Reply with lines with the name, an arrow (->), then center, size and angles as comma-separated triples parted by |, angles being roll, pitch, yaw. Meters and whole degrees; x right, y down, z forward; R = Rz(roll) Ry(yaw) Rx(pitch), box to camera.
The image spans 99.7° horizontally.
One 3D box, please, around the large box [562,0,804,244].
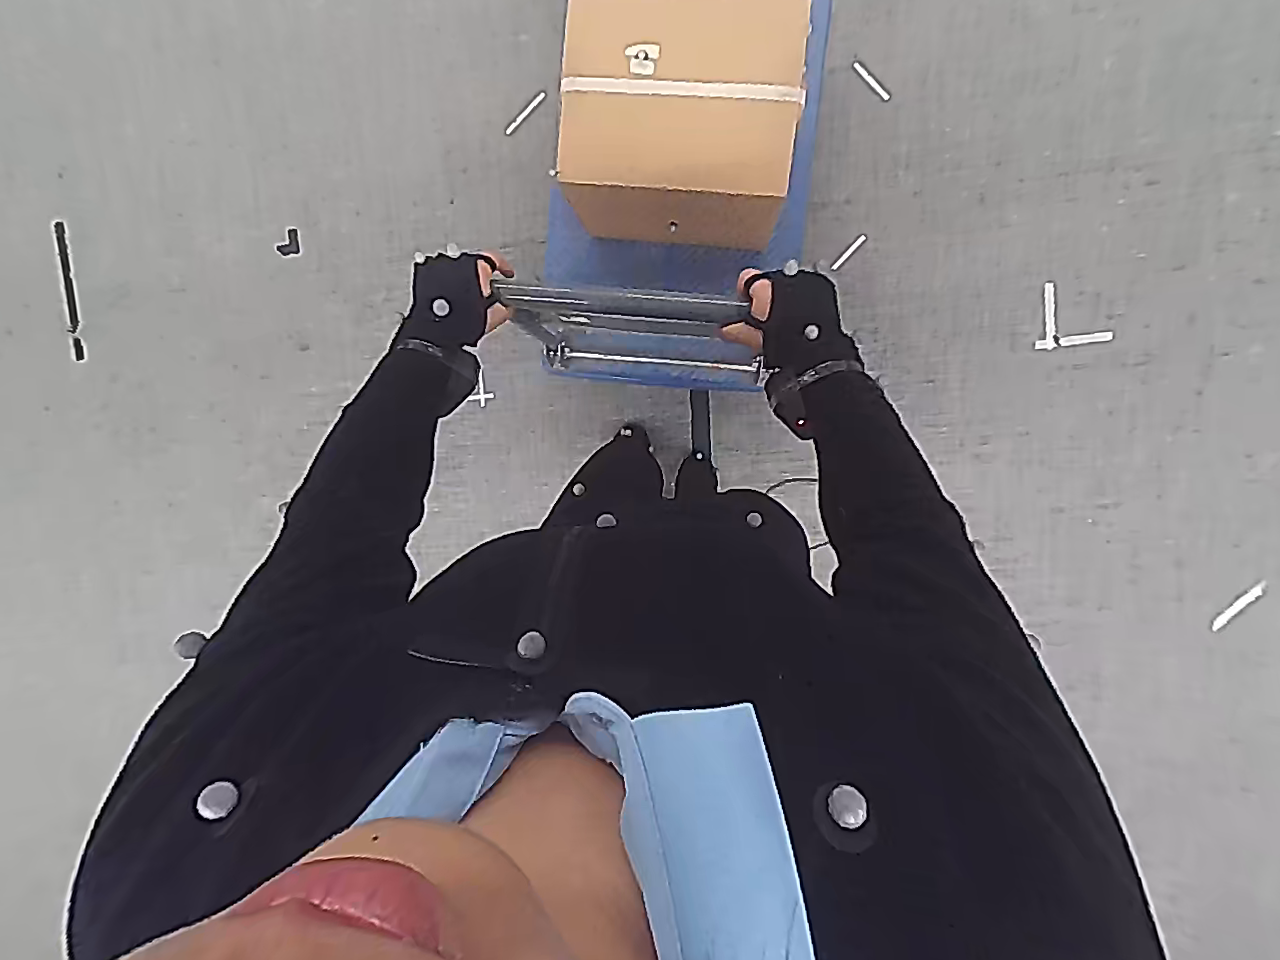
large box -> 0.086, -0.681, 1.082 | 0.408, 0.320, 0.320 | 6, 97, 7
